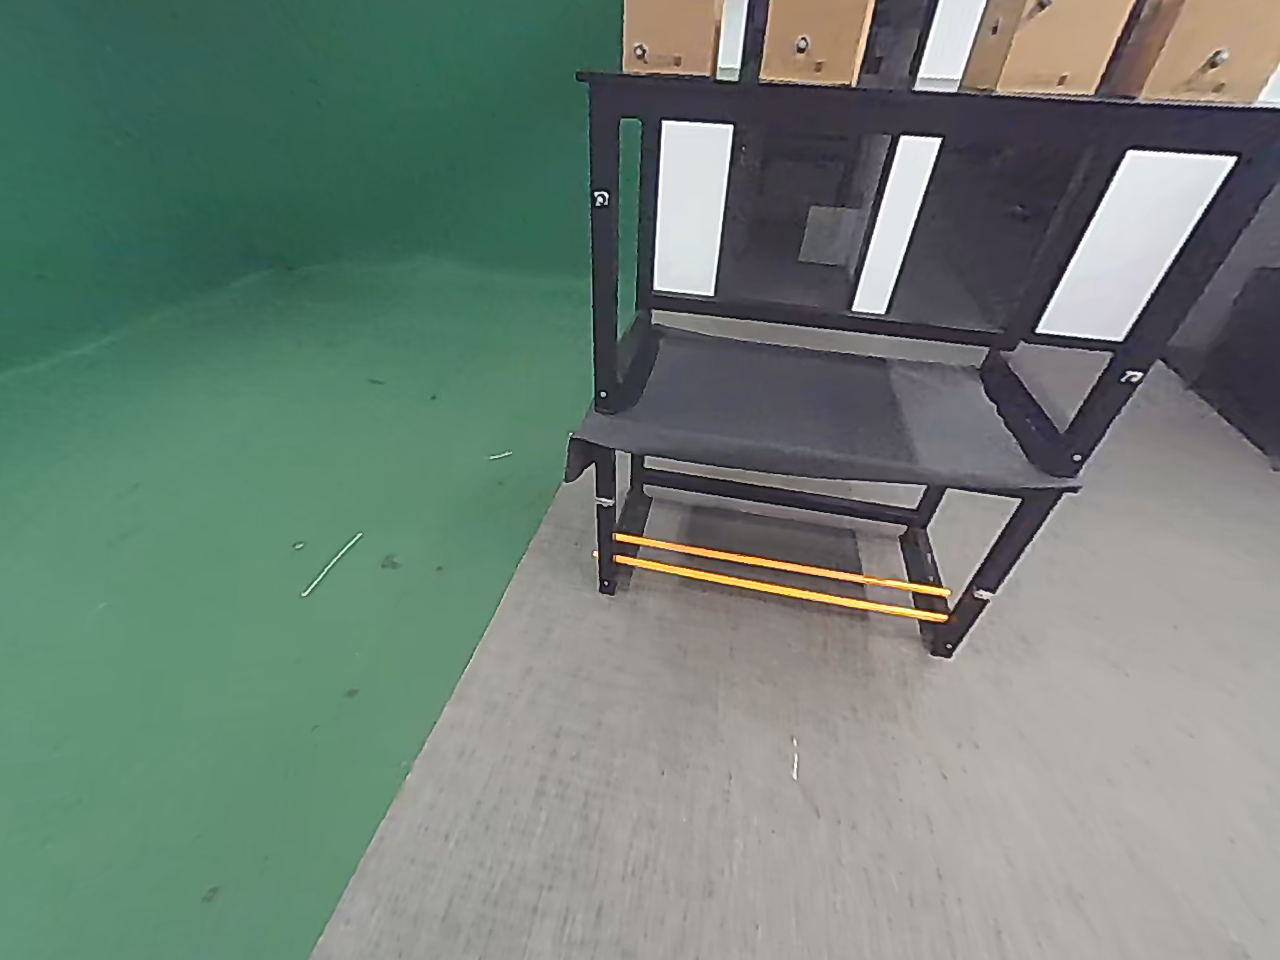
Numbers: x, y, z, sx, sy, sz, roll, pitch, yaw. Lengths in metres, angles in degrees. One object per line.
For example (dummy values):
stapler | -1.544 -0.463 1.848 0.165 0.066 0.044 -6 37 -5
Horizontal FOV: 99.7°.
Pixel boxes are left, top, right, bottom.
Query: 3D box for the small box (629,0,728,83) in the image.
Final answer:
small box | 0.076 -0.861 1.024 0.168 0.176 0.179 9 38 7

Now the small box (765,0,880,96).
small box | 0.334 -0.817 0.990 0.168 0.176 0.179 15 40 14
